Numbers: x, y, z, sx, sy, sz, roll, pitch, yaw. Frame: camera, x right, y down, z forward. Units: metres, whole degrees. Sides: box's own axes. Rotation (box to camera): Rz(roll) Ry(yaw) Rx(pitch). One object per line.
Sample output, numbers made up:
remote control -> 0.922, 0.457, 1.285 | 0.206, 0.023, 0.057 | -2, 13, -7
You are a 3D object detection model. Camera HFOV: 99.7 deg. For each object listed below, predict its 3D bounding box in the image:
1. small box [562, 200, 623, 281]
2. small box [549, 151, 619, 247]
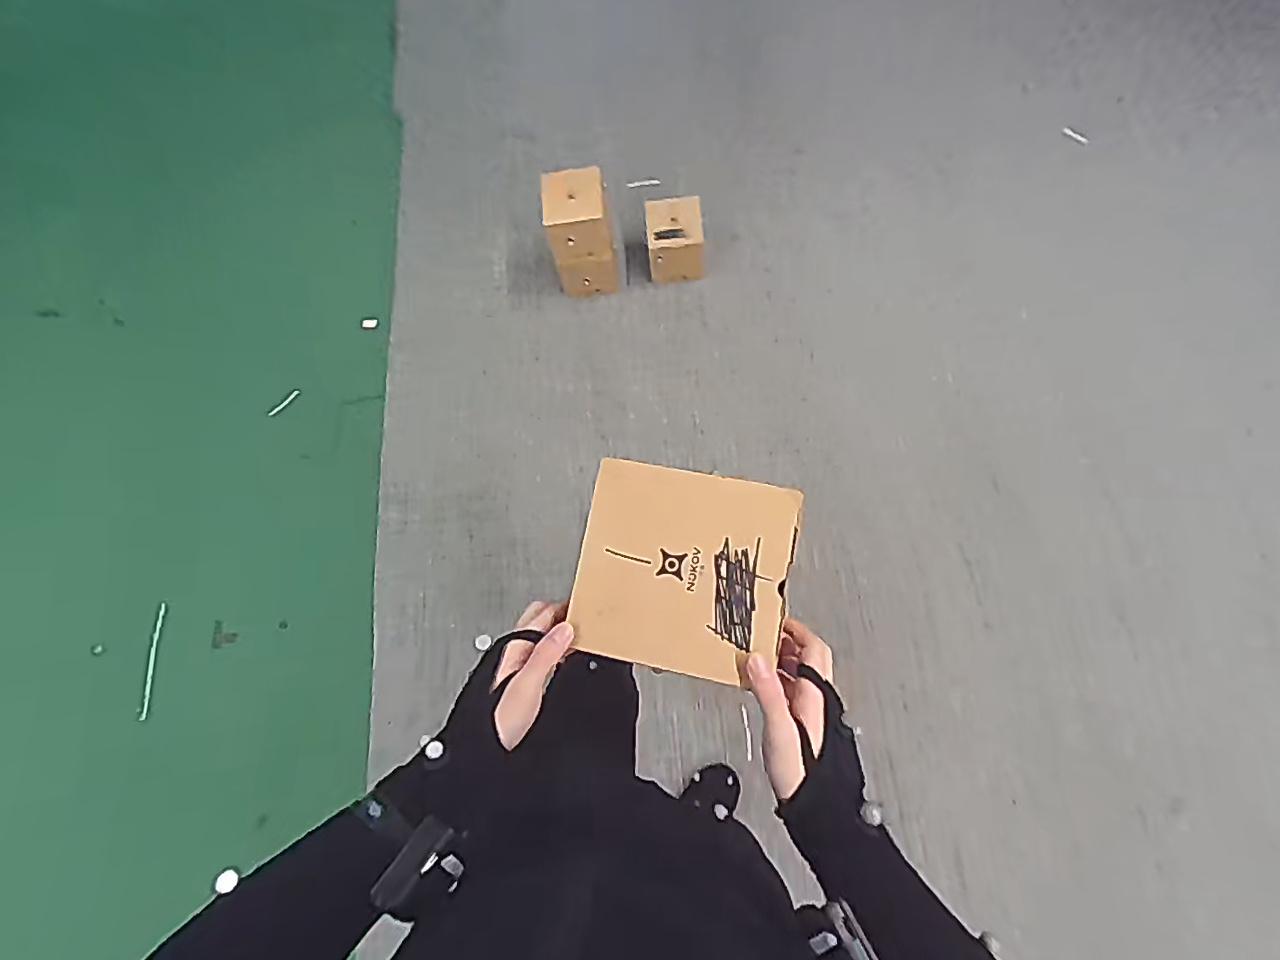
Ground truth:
small box -> -0.142, -0.731, 1.668 | 0.168, 0.176, 0.179 | -2, 74, 4
small box -> -0.153, -0.775, 1.512 | 0.168, 0.176, 0.179 | -5, 74, 4
